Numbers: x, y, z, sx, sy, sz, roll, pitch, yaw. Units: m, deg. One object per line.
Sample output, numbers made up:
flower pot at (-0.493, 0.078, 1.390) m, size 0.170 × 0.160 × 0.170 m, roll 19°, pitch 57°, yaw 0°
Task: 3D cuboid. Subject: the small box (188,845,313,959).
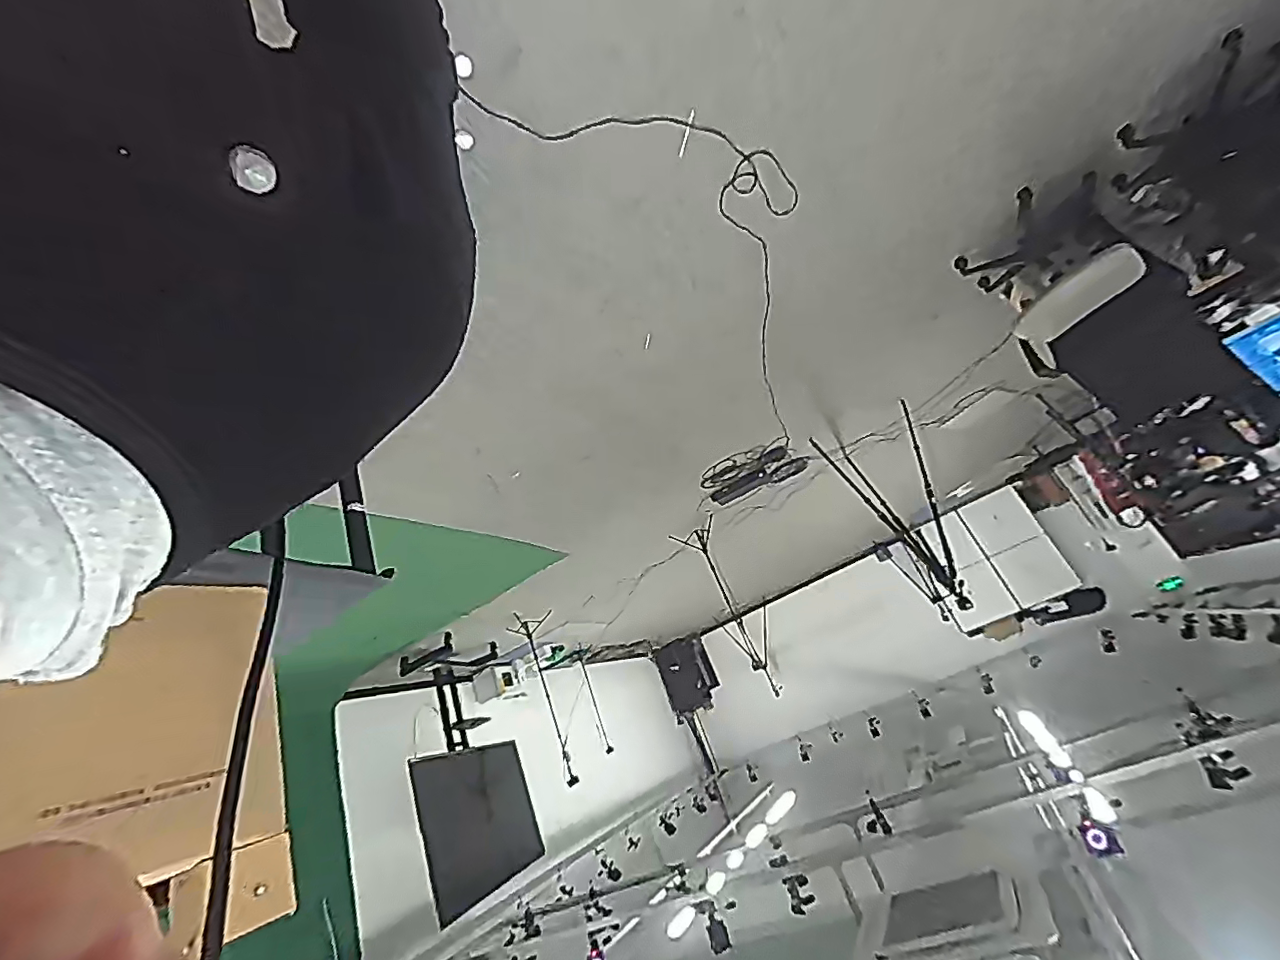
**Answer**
small box at (-0.882, 0.964, 1.223) m, size 0.168 × 0.176 × 0.179 m, roll -36°, pitch 155°, yaw 22°
